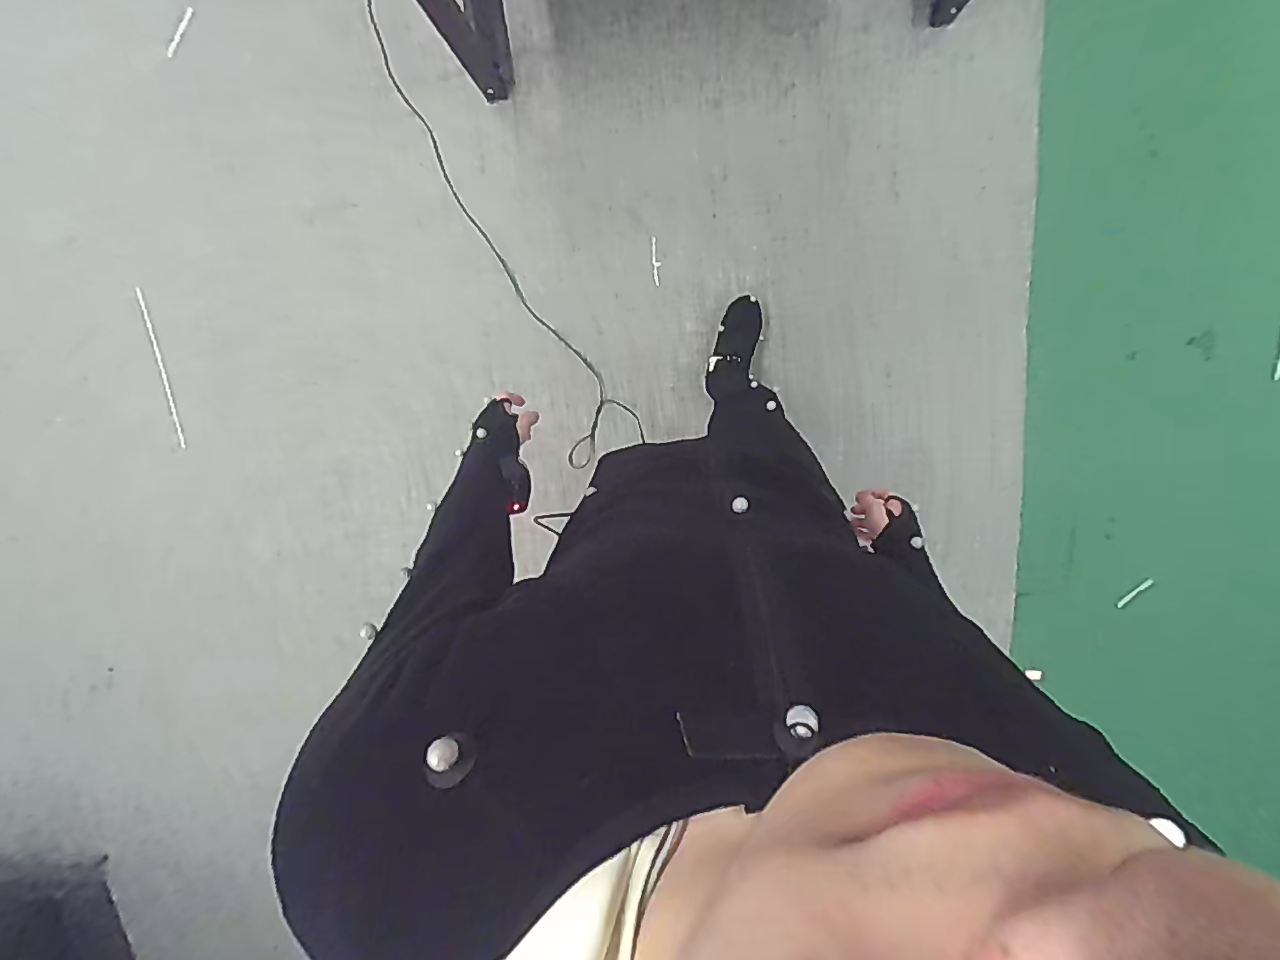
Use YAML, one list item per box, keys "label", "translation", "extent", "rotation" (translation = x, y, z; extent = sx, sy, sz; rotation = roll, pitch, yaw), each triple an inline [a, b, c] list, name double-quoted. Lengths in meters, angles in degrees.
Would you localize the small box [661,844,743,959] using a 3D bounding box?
- label: "small box"
  translation: [0.131, 0.951, 1.203]
  extent: [0.168, 0.176, 0.179]
  rotation: [2, 103, 4]
